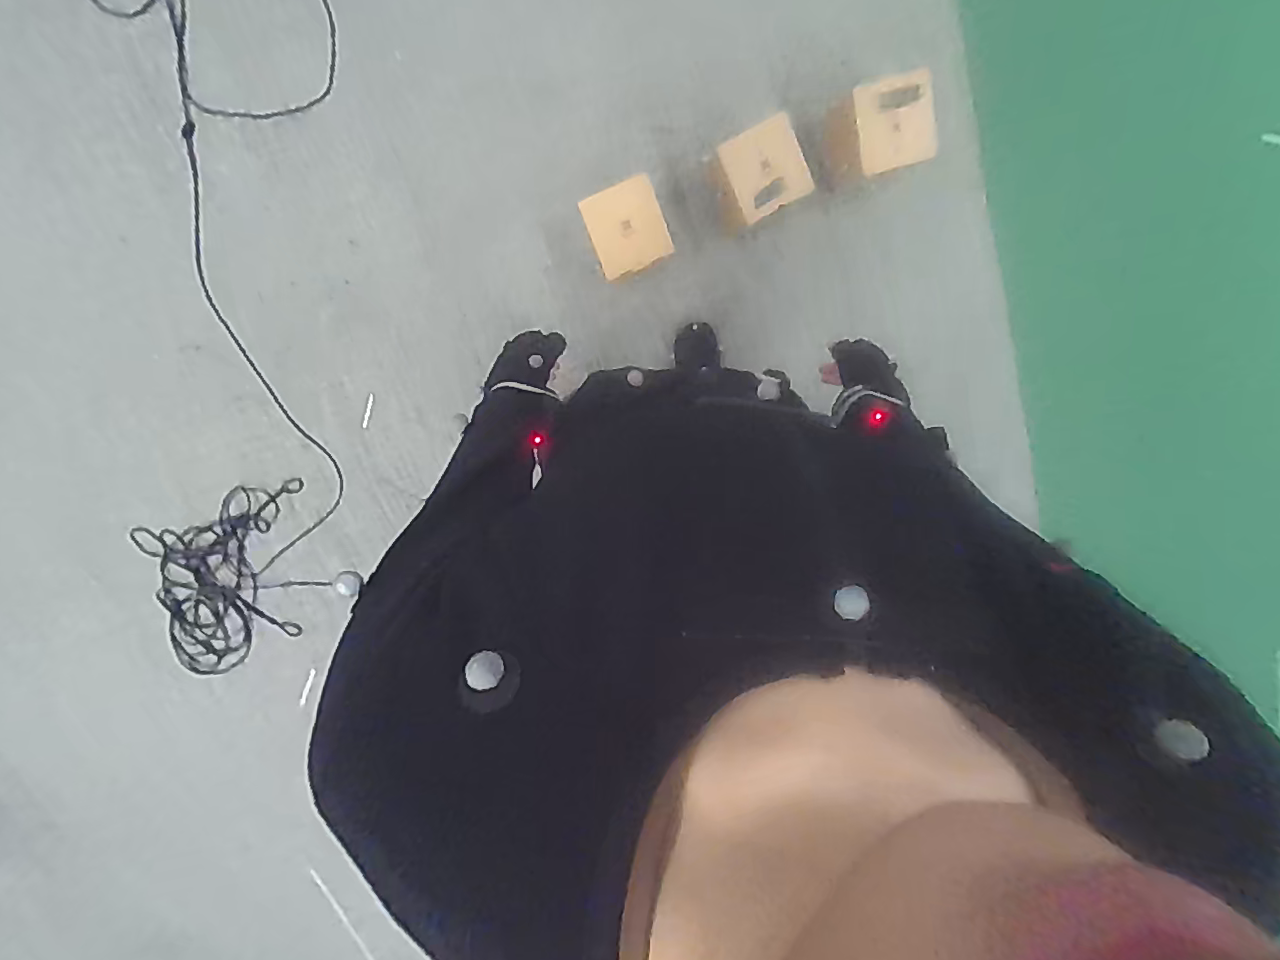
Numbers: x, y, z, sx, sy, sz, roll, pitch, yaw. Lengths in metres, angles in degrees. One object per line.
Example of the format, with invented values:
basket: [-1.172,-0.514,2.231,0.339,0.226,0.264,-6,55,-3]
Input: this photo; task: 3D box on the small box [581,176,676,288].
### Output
small box: [-0.027,-0.565,1.260,0.168,0.176,0.179,-21,104,5]

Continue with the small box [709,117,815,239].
small box: [0.272,-0.674,1.237,0.168,0.176,0.179,-26,102,5]
